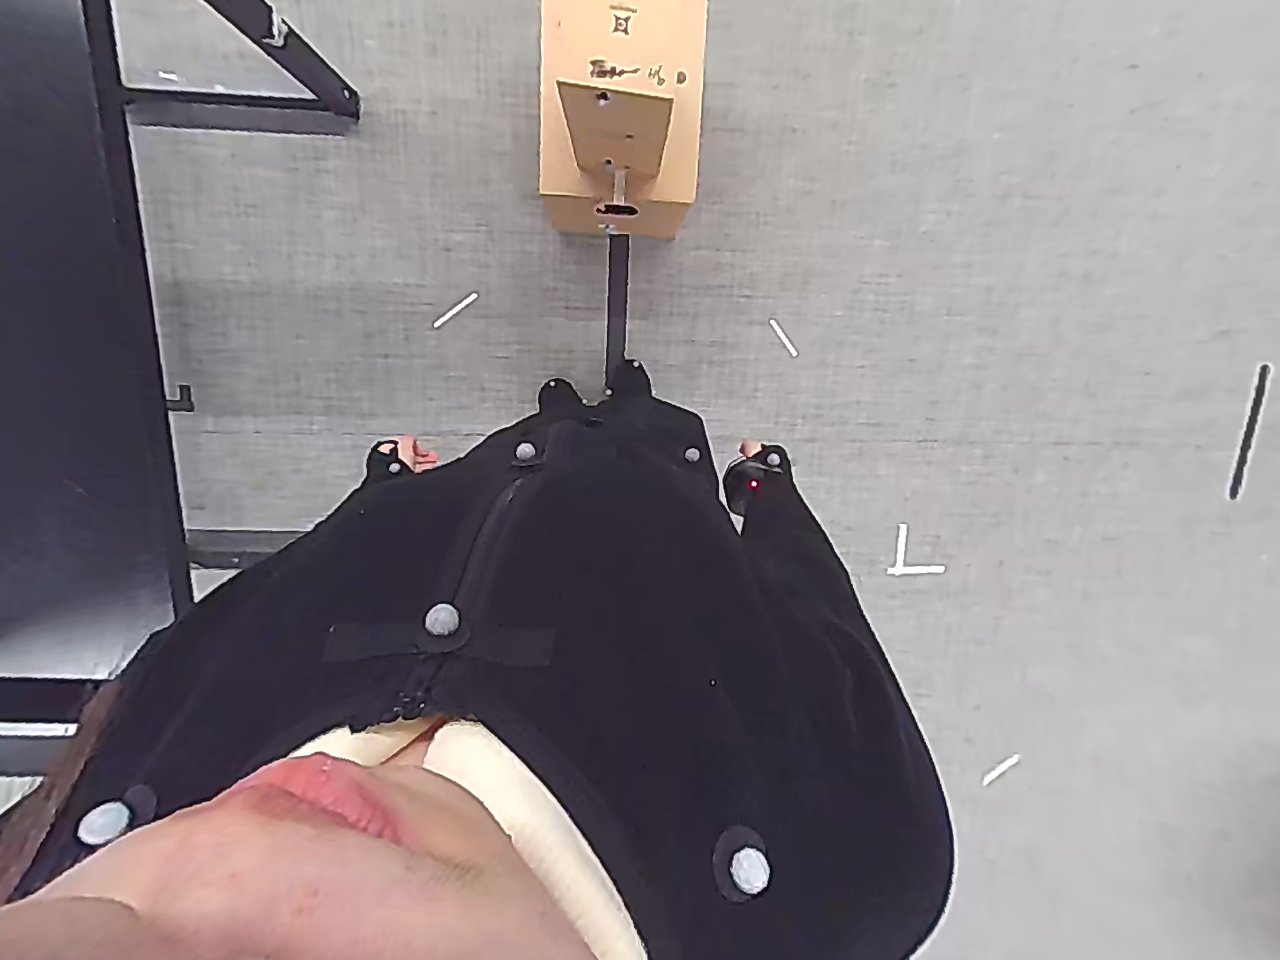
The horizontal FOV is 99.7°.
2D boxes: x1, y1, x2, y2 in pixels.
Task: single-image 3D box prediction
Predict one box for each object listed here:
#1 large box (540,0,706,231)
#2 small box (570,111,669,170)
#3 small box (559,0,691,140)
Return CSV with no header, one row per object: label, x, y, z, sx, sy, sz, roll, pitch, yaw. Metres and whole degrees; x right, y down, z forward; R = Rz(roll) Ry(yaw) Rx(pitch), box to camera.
large box,-0.040,-0.788,1.170,0.320,0.320,0.408,1,102,-4
small box,-0.028,-0.675,0.946,0.168,0.176,0.179,6,103,-3
small box,-0.020,-0.635,0.787,0.168,0.176,0.179,7,101,-3
